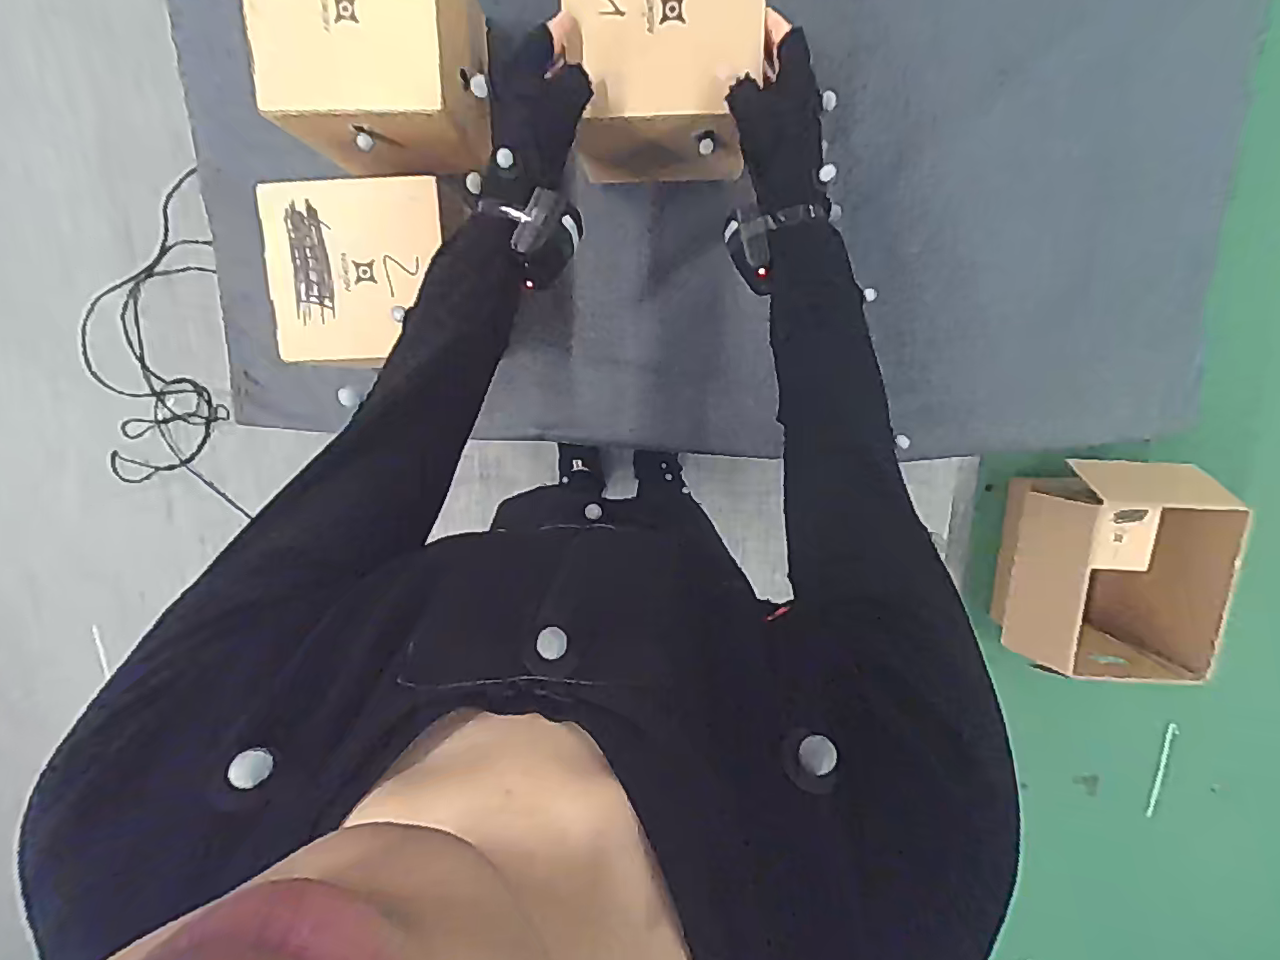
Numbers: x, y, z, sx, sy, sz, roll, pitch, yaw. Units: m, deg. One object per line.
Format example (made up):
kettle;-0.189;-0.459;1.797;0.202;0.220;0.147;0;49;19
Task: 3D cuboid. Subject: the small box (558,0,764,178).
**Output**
small box;0.021;-0.415;0.532;0.179;0.176;0.168;0;101;3
